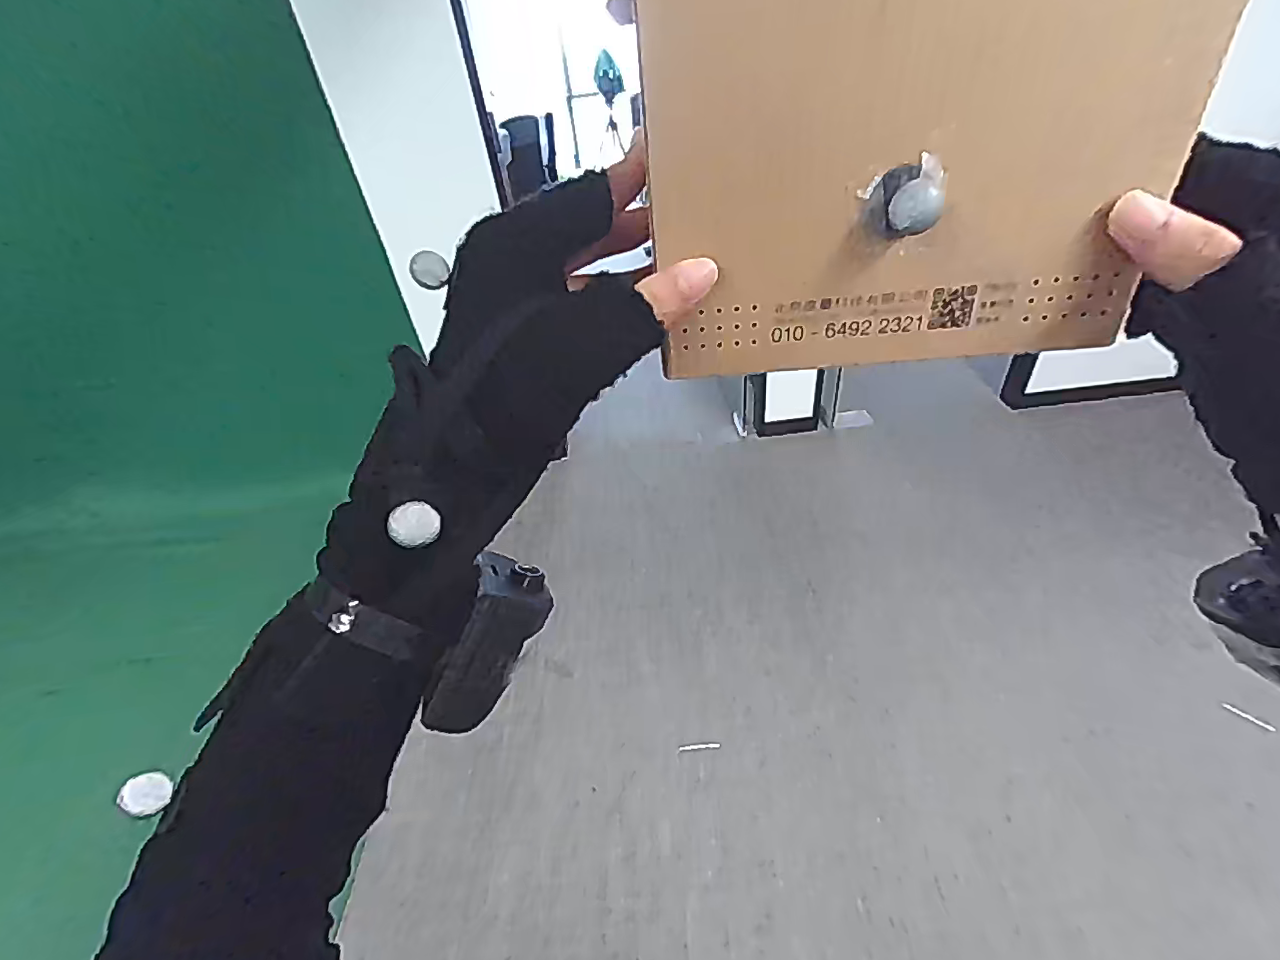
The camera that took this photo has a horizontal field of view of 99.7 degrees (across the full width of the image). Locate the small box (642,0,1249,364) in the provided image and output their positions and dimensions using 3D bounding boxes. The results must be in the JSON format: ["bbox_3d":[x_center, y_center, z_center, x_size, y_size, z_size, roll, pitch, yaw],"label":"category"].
[{"bbox_3d":[0.088,-0.160,0.226,0.168,0.176,0.179,-4,34,6],"label":"small box"}]
